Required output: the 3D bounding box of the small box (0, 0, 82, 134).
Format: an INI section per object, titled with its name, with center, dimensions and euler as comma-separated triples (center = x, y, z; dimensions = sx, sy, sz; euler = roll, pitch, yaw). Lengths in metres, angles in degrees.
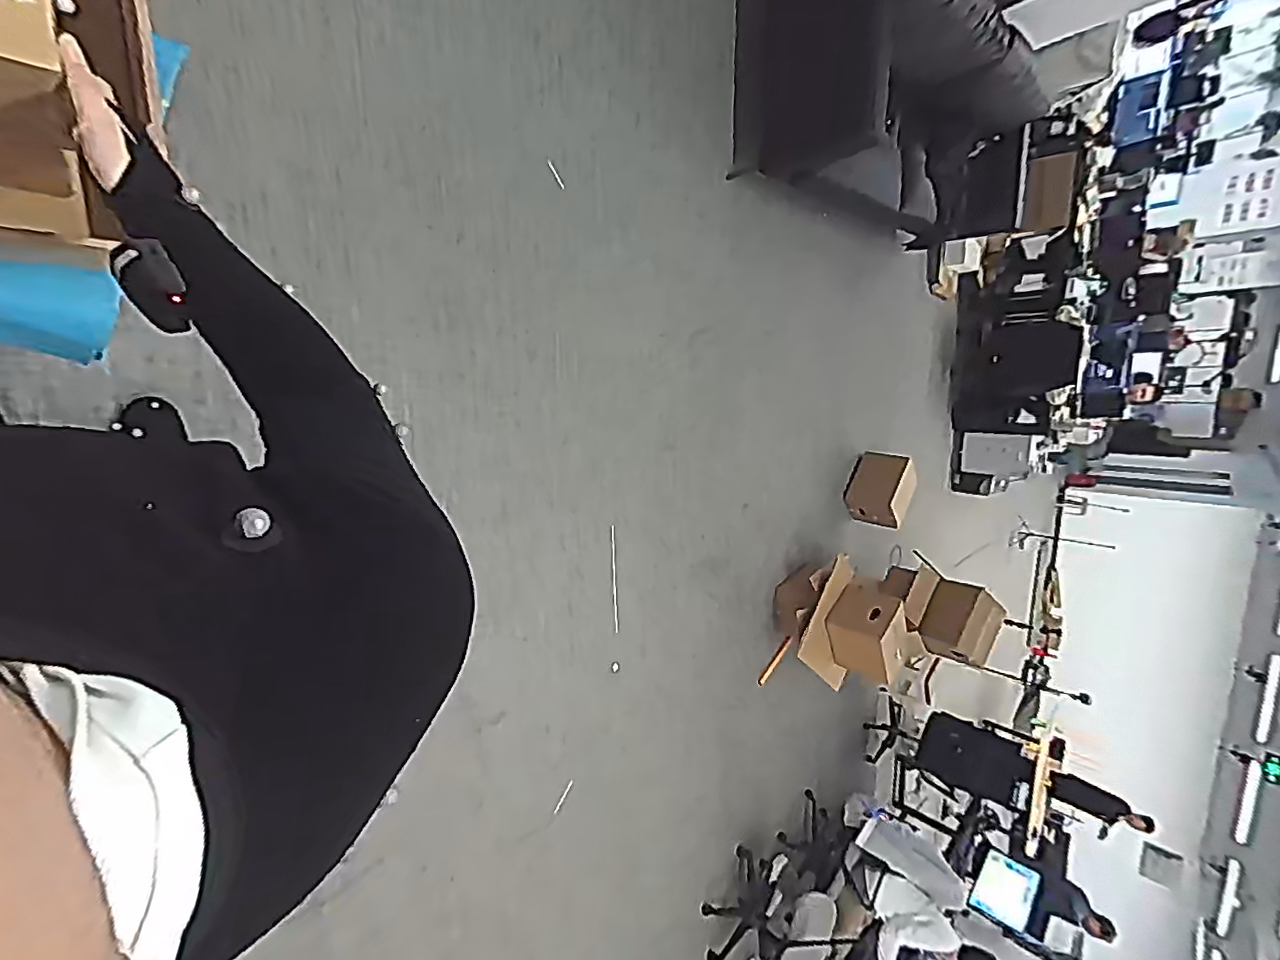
[small box]
center = -0.565, -0.397, 0.408
dimensions = 0.179, 0.176, 0.168
euler = -10, 102, -42
